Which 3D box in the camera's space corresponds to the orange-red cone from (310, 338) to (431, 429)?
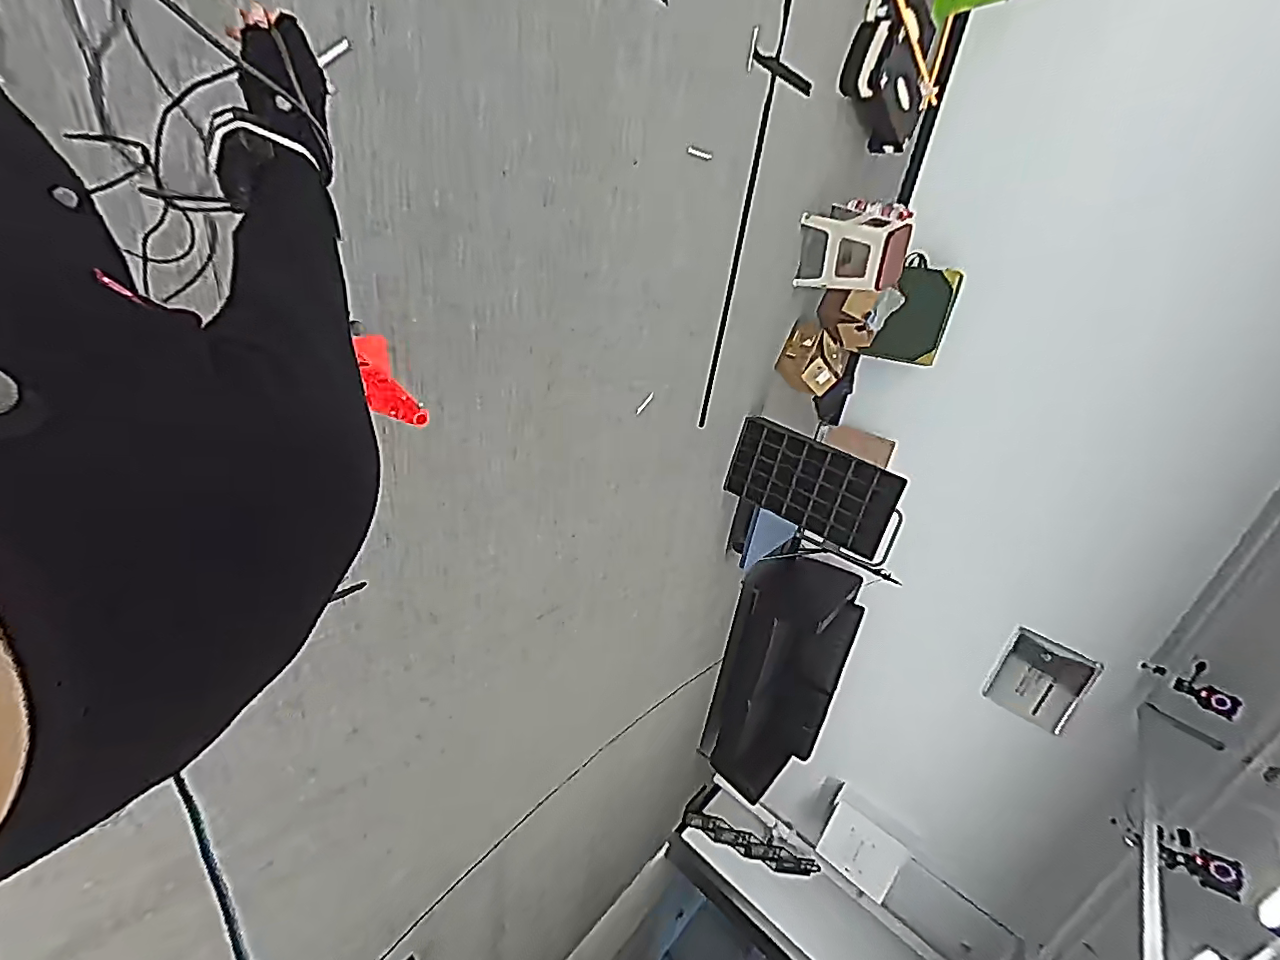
[{"bbox_3d":[-0.627,-0.204,1.337,0.199,0.360,0.198,-27,133,-44],"label":"orange-red cone"}]
